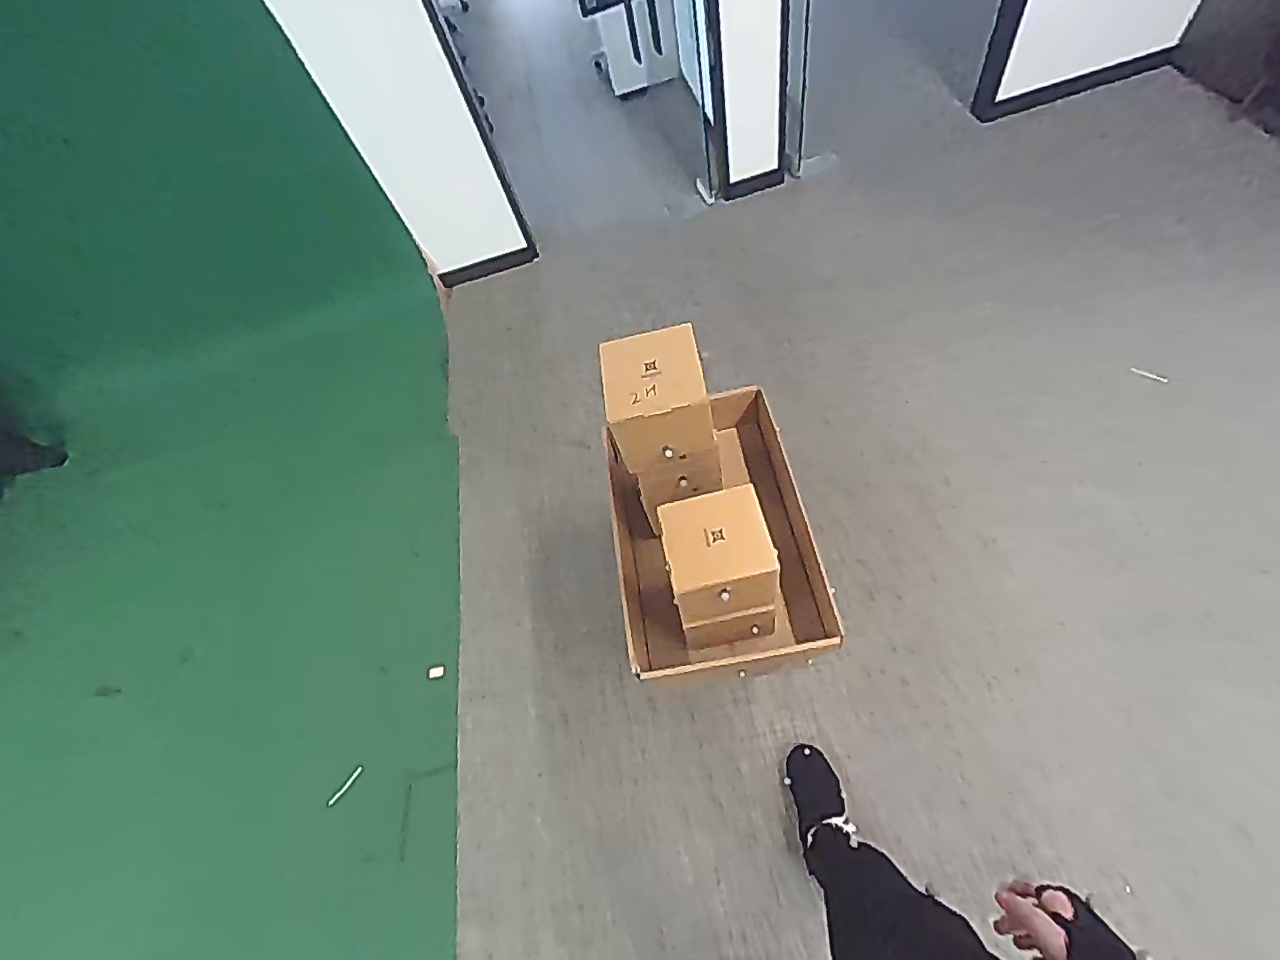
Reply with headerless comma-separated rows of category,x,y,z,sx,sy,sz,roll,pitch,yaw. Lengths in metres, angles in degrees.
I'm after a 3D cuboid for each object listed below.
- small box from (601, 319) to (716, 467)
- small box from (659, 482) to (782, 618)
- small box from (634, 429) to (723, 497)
small box,0.035,-0.147,0.951,0.168,0.176,0.179,-12,60,8
small box,0.144,0.129,0.961,0.179,0.176,0.168,-15,57,6
small box,0.064,-0.083,1.101,0.168,0.176,0.179,-18,60,3
